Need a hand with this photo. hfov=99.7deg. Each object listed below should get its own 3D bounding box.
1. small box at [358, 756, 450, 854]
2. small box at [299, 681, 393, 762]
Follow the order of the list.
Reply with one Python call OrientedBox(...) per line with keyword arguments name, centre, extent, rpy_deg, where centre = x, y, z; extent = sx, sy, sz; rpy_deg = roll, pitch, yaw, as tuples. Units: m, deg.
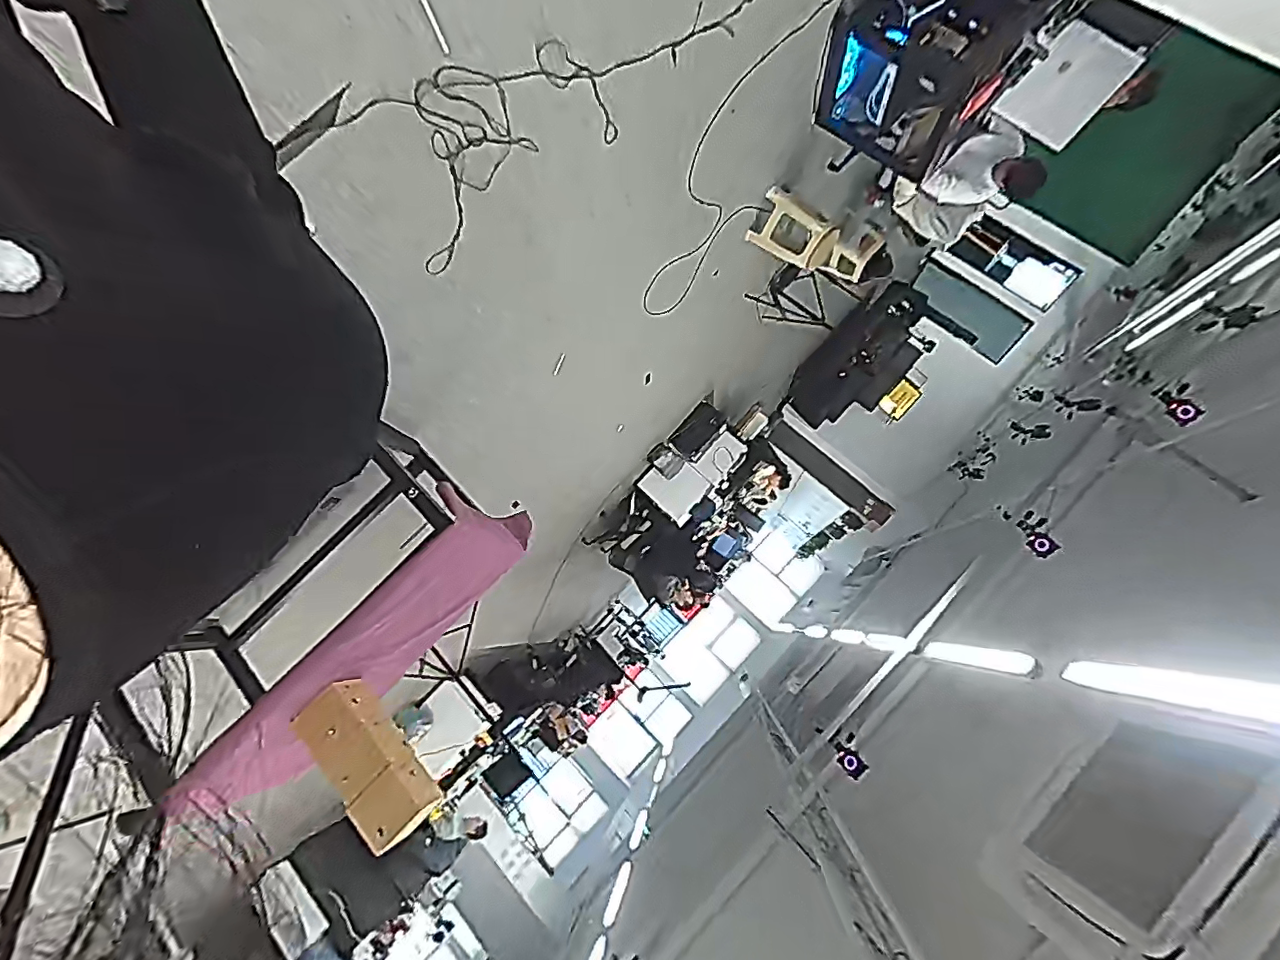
OrientedBox(name="small box", centre=(-0.740, 1.002, 1.684), extent=(0.179, 0.176, 0.168), rpy_deg=(-46, 165, -7))
OrientedBox(name="small box", centre=(-0.966, 0.781, 1.777), extent=(0.179, 0.176, 0.168), rpy_deg=(-45, 164, -7))
